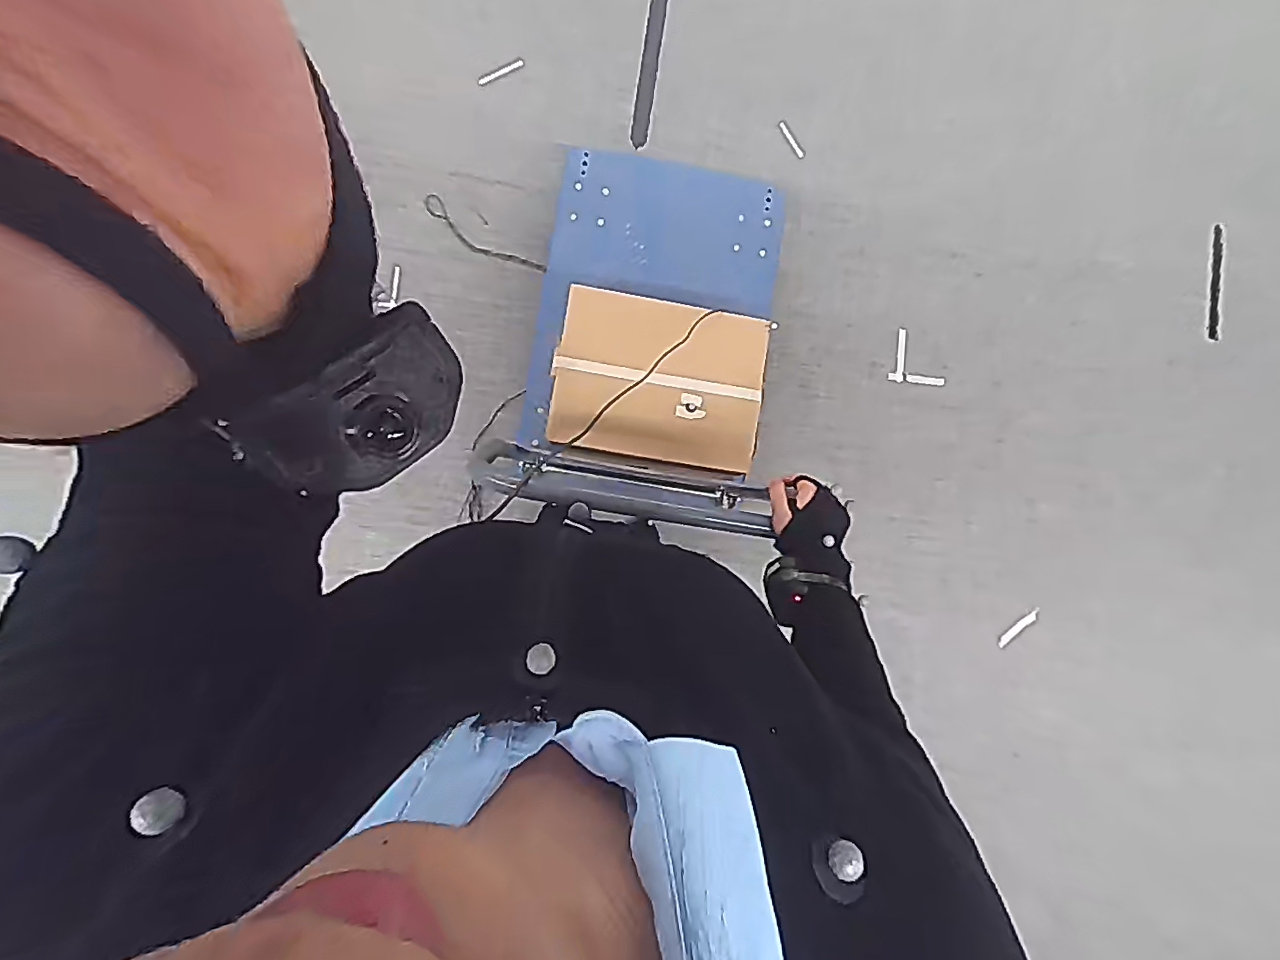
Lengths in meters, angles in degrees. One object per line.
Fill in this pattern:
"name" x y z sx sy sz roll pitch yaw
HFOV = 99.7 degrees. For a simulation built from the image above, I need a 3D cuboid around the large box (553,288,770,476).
"large box" 0.032 -0.193 1.213 0.408 0.320 0.320 9 88 -5
